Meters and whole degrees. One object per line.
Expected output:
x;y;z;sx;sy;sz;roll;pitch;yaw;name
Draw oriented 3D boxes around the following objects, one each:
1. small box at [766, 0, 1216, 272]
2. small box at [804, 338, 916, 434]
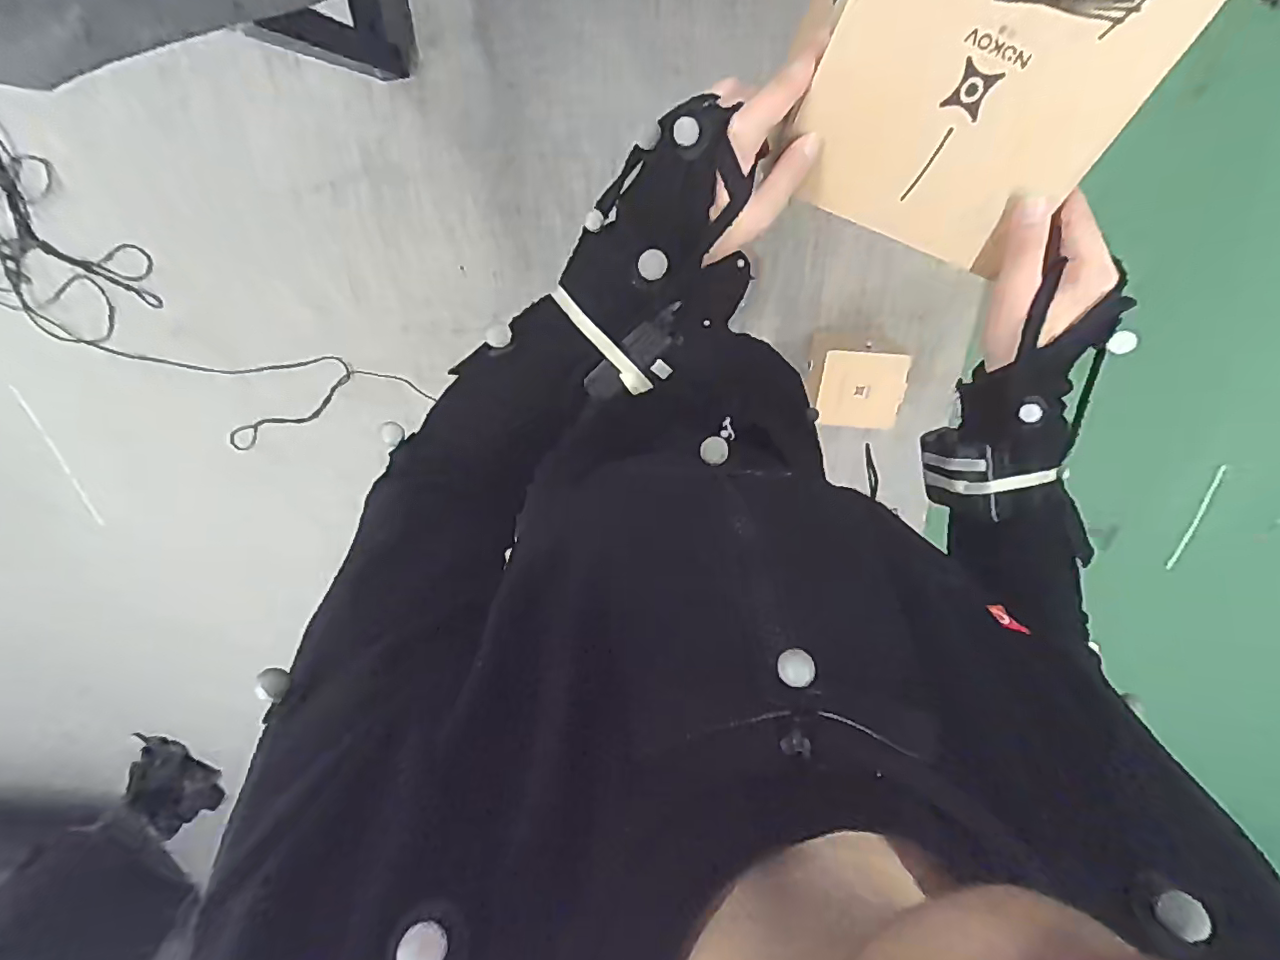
0.188;-0.268;0.339;0.168;0.176;0.179;18;131;-6;small box
0.478;-0.215;1.203;0.179;0.176;0.168;5;117;5;small box
